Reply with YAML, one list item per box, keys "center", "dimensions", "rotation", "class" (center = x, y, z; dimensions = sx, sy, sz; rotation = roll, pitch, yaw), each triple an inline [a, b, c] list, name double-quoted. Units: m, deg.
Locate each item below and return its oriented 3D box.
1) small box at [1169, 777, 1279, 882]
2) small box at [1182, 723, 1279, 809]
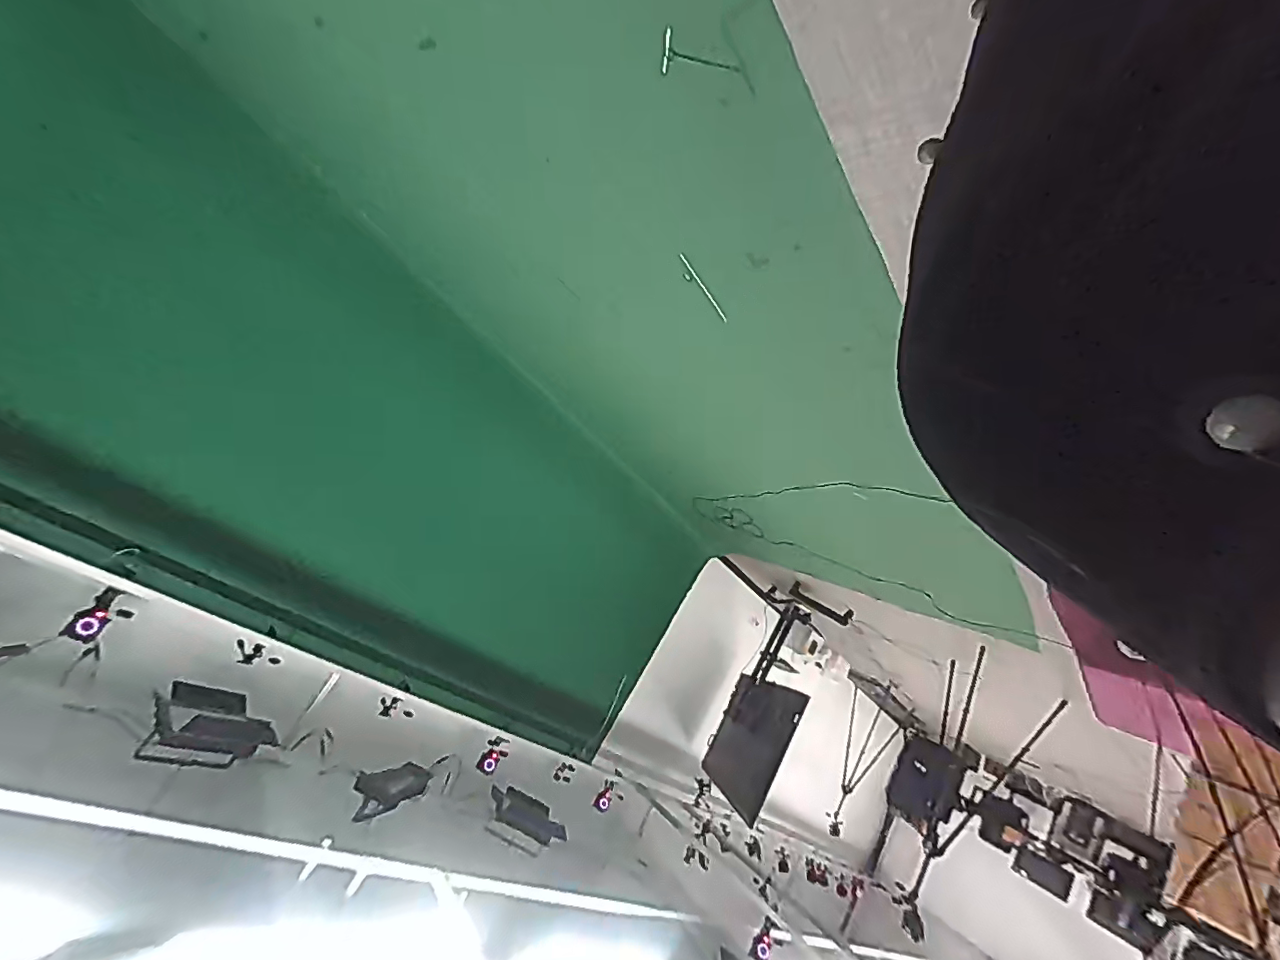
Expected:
- center: [1.561, 0.924, 1.448]
  dimensions: [0.179, 0.176, 0.168]
  rotation: [12, 156, 50]
  class: "small box"
- center: [1.655, 0.801, 1.503]
  dimensions: [0.168, 0.176, 0.179]
  rotation: [42, 162, -33]
  class: "small box"
